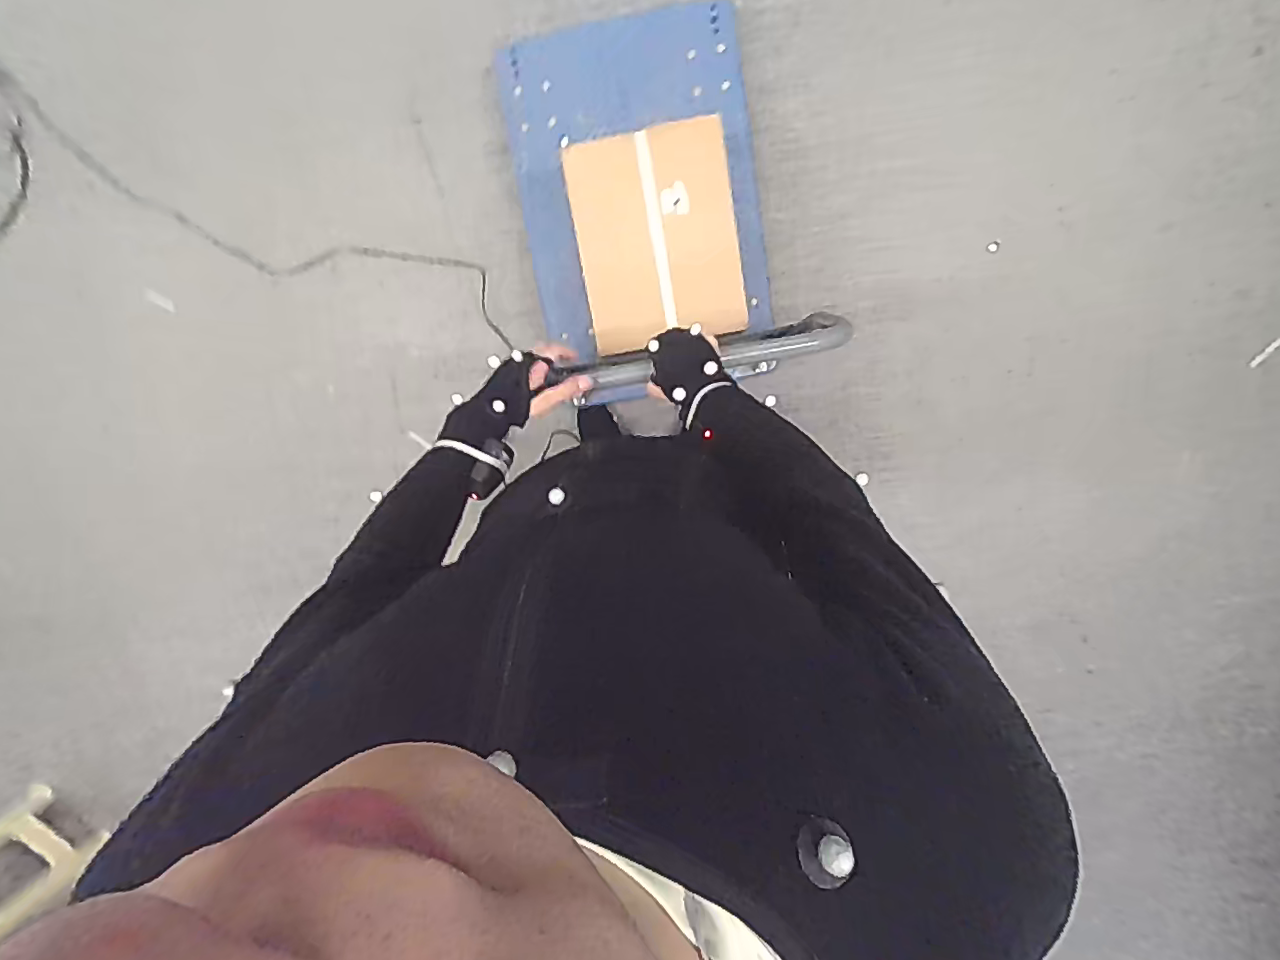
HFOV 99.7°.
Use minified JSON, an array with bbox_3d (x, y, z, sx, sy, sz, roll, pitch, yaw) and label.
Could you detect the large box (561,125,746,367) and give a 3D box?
[{"bbox_3d":[0.038,-0.492,1.229,0.320,0.320,0.408,-10,99,3],"label":"large box"}]
